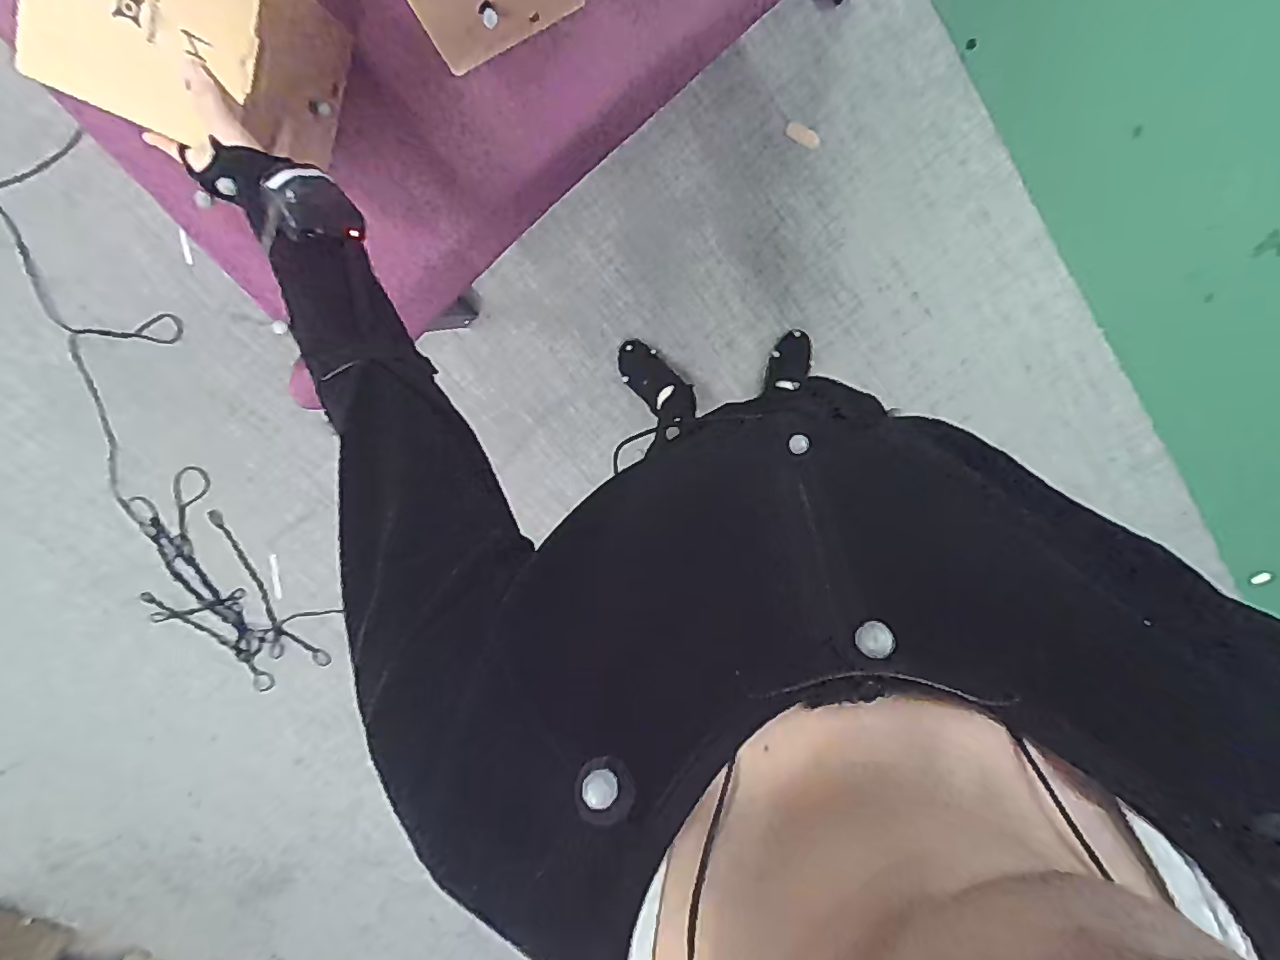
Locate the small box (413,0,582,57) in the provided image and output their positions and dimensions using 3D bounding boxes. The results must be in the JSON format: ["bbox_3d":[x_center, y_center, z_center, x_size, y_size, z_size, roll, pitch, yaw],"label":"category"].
[{"bbox_3d":[-0.159,-0.539,0.499,0.168,0.176,0.179,-25,106,5],"label":"small box"}]

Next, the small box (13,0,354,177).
[{"bbox_3d":[-0.410,-0.414,0.513,0.179,0.176,0.168,21,108,-13],"label":"small box"}]
